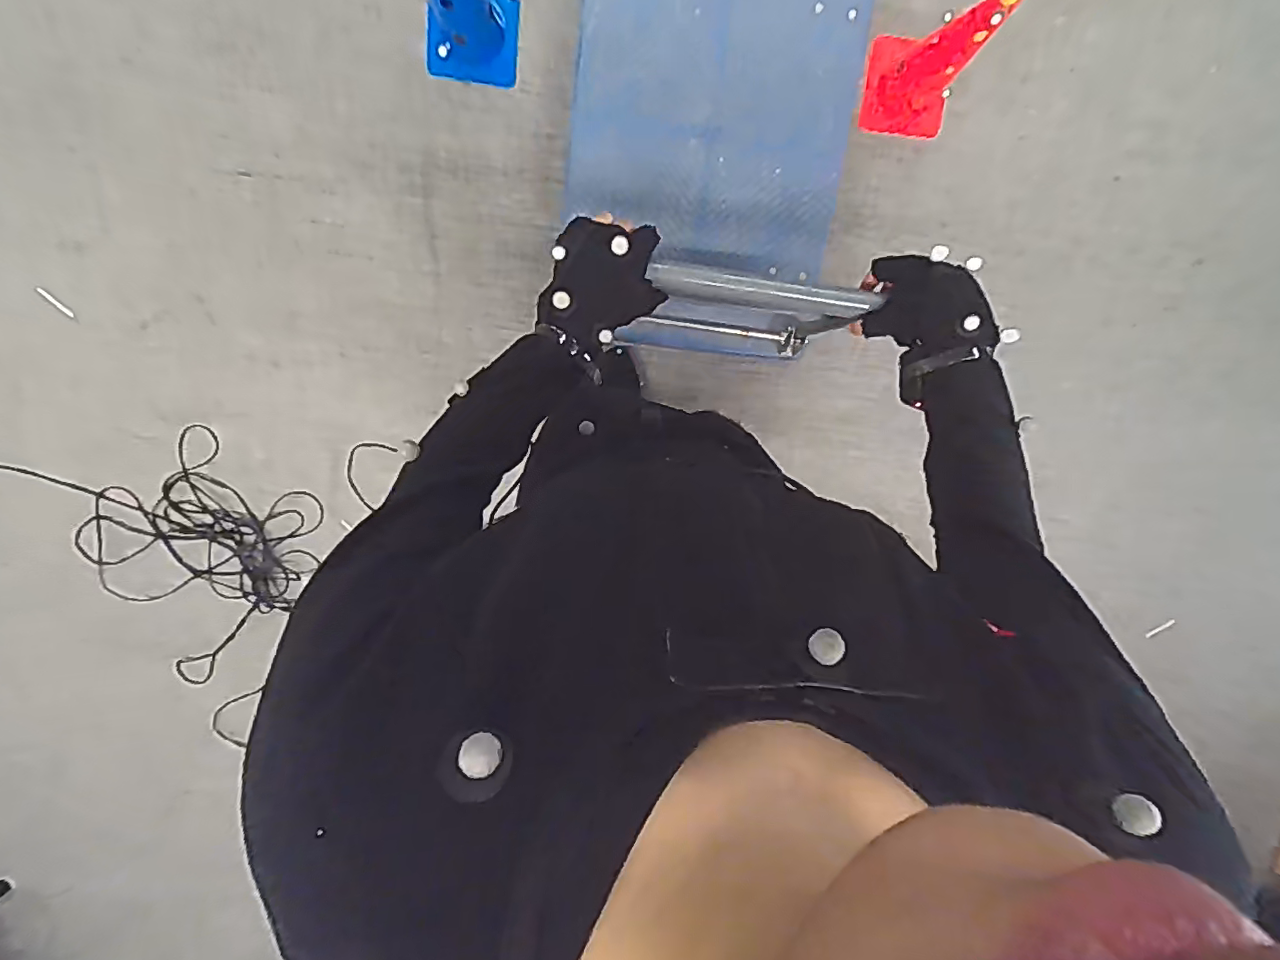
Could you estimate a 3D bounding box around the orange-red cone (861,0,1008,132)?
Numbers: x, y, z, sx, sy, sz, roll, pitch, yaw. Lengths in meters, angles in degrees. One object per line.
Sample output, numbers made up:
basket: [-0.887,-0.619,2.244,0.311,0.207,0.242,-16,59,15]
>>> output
orange-red cone: [0.636,-0.901,1.113,0.199,0.360,0.198,5,103,-3]
